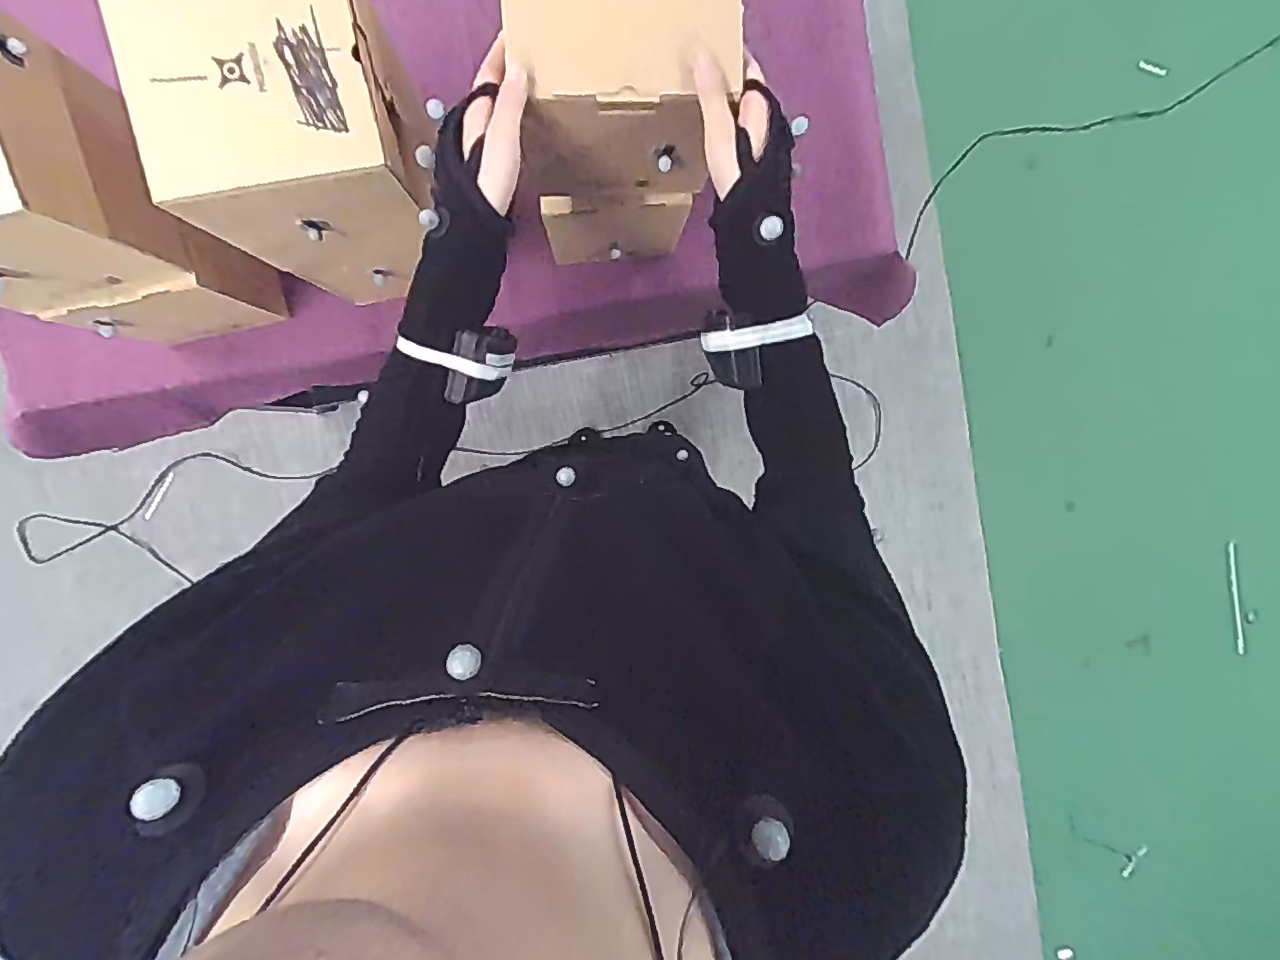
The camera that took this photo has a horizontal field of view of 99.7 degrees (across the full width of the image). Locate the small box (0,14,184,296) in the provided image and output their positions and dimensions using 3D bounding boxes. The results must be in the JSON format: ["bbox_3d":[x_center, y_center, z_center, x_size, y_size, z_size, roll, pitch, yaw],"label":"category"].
[{"bbox_3d":[-0.552,-0.272,0.464,0.168,0.176,0.179,-15,95,-2],"label":"small box"}]

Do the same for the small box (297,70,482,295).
[{"bbox_3d":[-0.306,-0.331,0.638,0.179,0.176,0.168,-12,96,-2],"label":"small box"}]

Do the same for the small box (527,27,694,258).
[{"bbox_3d":[-0.035,-0.387,0.649,0.168,0.176,0.179,-6,95,-2],"label":"small box"}]

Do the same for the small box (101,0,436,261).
[{"bbox_3d":[-0.295,-0.310,0.474,0.179,0.176,0.168,-10,95,-2],"label":"small box"}]
